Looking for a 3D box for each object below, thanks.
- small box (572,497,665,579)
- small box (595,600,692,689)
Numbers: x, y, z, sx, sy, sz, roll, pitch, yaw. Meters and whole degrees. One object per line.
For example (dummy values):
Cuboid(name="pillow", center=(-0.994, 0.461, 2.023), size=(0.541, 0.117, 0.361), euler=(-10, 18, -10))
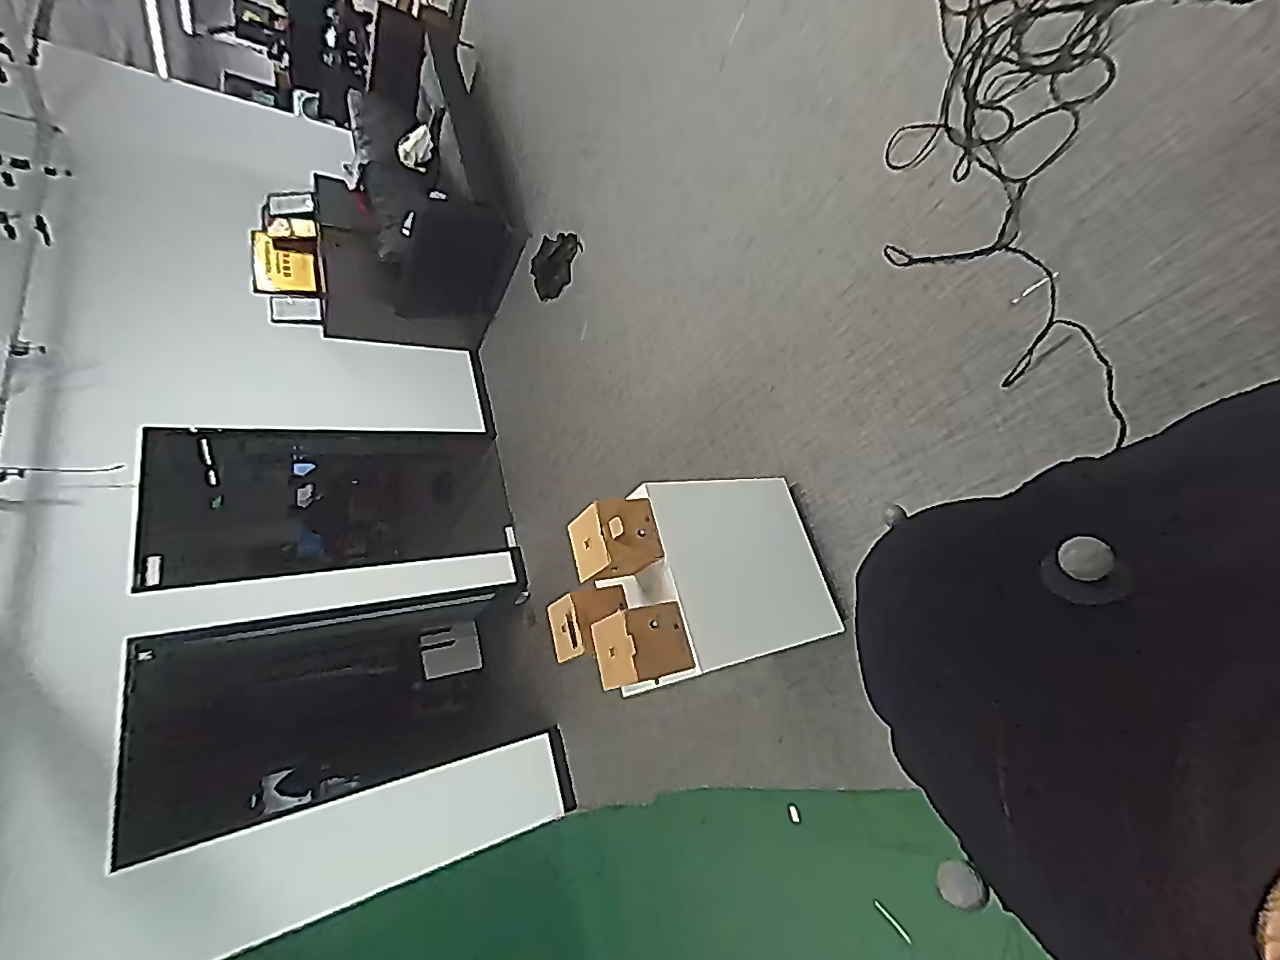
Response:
Cuboid(name="small box", center=(-0.058, 0.153, 1.426), size=(0.179, 0.176, 0.168), euler=(-41, 58, 50))
Cuboid(name="small box", center=(0.012, 0.404, 1.333), size=(0.179, 0.176, 0.168), euler=(-42, 56, 51))
